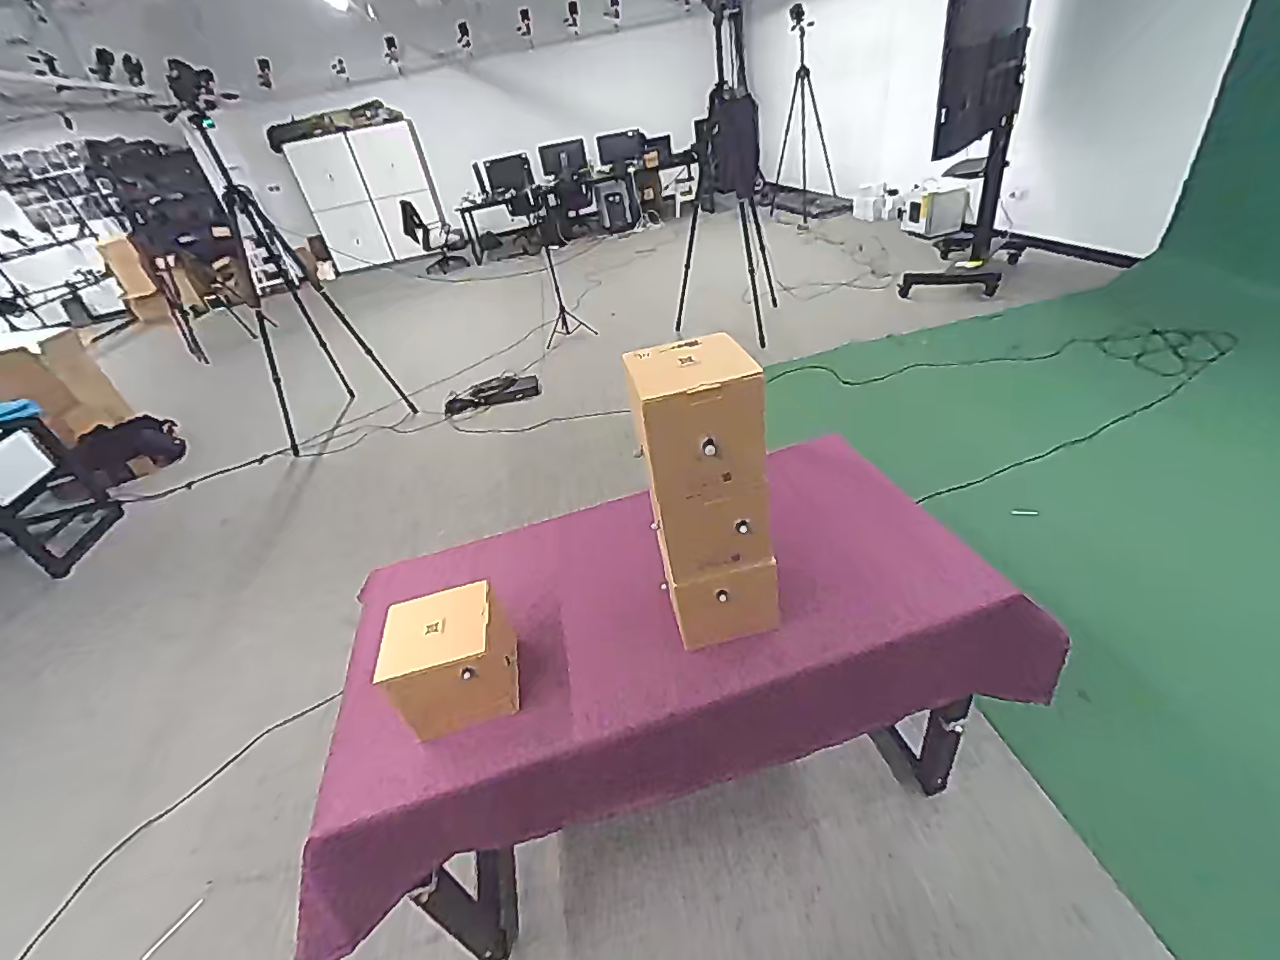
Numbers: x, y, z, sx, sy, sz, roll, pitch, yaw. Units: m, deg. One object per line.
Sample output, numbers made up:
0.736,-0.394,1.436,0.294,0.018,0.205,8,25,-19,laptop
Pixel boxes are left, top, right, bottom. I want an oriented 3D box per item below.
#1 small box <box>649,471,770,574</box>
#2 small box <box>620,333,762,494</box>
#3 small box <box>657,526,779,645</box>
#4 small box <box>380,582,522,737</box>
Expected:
0.109,0.037,0.896,0.168,0.176,0.179,-13,34,-1,small box
0.076,-0.095,0.803,0.168,0.176,0.179,-13,35,-2,small box
0.141,0.173,0.980,0.179,0.176,0.168,-14,35,-1,small box
-0.314,0.312,0.935,0.179,0.176,0.168,-15,34,-5,small box
